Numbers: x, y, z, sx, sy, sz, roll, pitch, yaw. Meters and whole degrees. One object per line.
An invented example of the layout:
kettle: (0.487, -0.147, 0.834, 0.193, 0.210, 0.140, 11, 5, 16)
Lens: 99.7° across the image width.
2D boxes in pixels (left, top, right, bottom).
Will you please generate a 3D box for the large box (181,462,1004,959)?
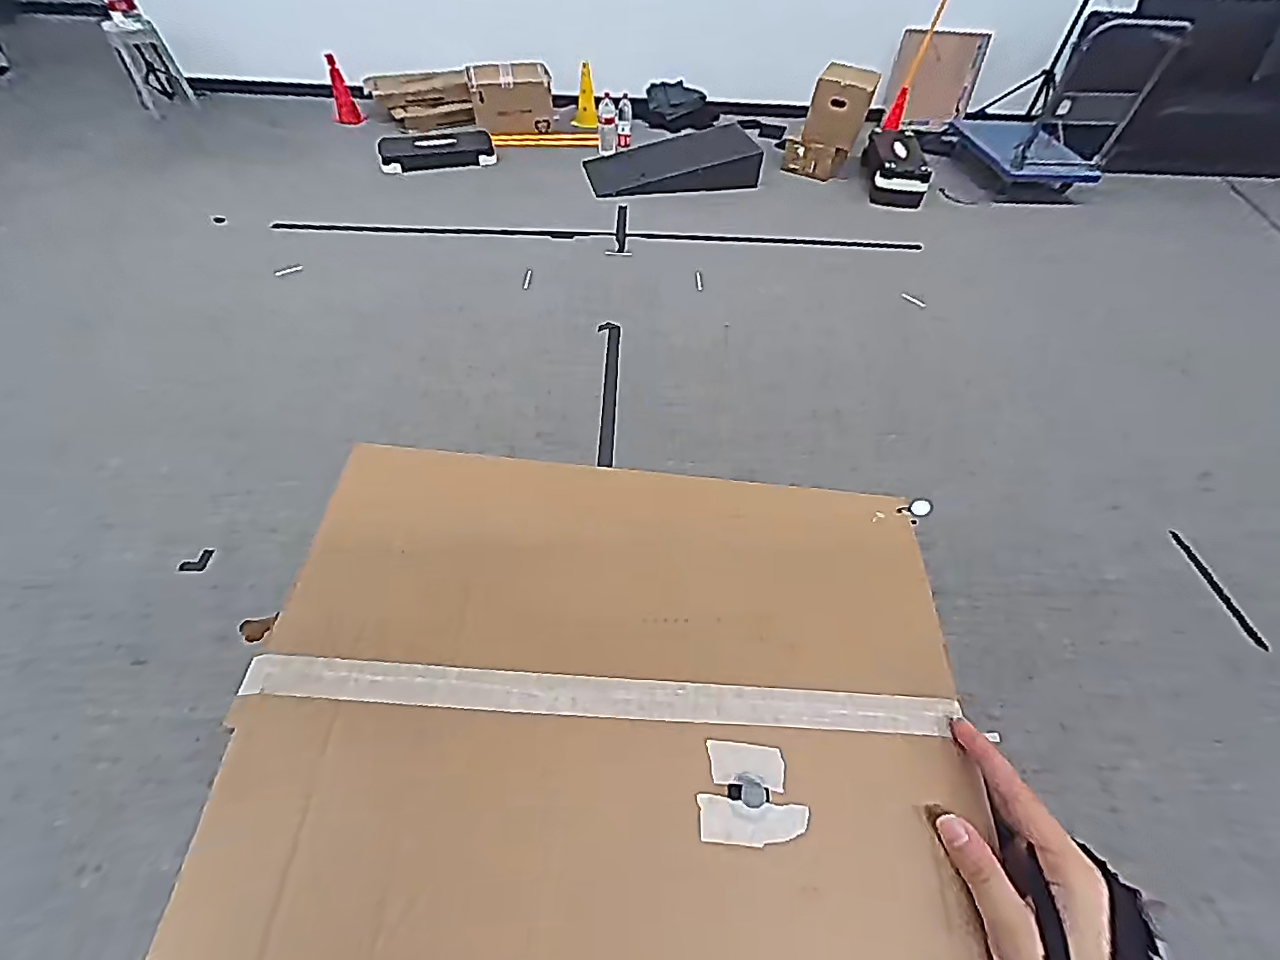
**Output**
large box: (-0.025, 0.211, 0.447, 0.408, 0.320, 0.320, 6, 58, -5)
